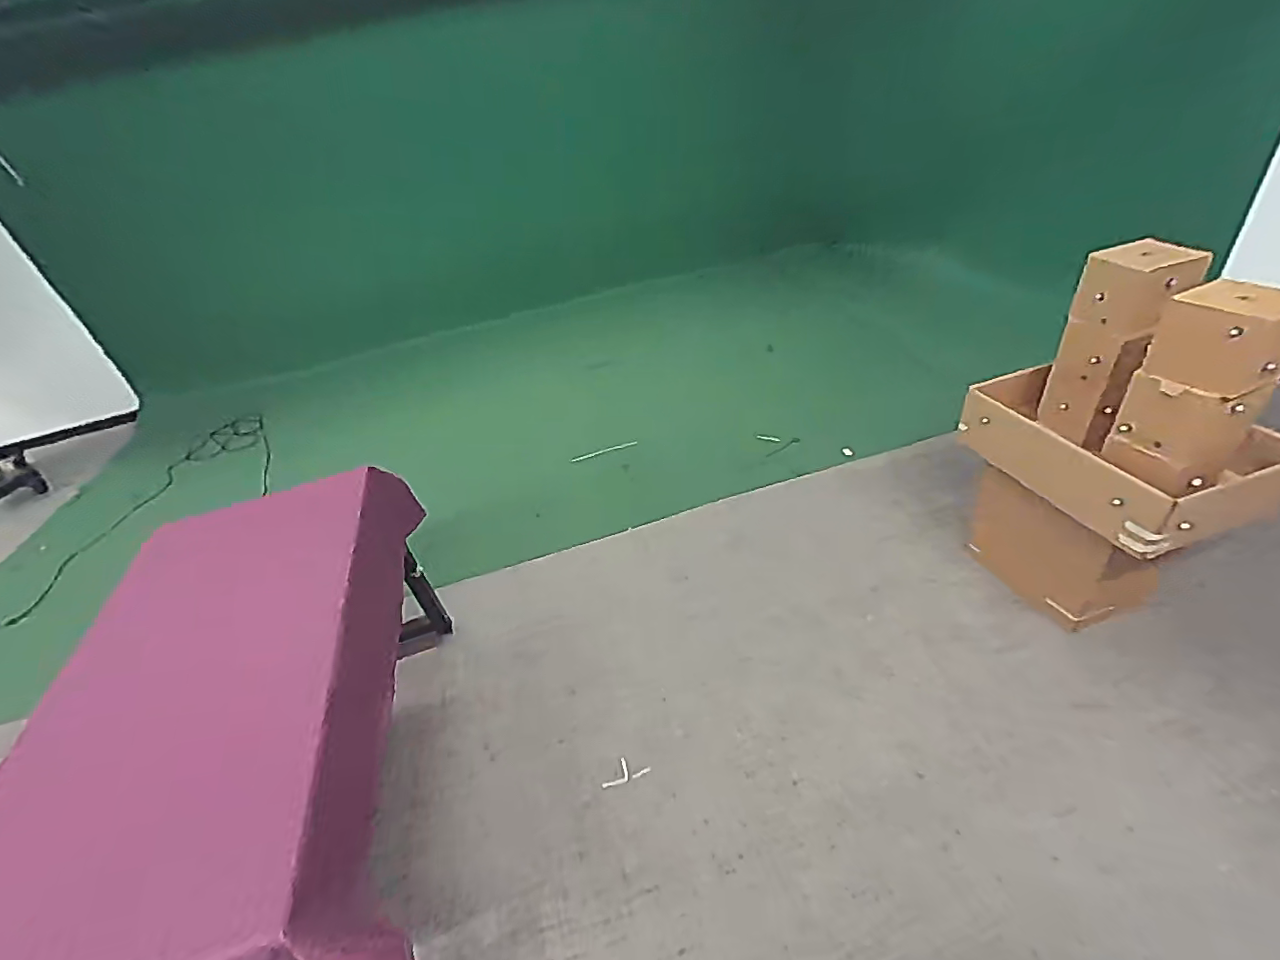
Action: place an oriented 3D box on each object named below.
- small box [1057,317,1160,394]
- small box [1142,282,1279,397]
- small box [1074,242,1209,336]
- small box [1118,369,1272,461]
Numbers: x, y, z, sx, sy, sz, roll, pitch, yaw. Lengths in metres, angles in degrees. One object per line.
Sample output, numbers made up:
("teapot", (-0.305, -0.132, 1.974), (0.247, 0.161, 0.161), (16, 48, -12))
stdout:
("small box", (1.286, -0.353, 1.474), (0.179, 0.176, 0.168), (-15, 38, -5))
("small box", (1.226, -0.296, 1.135), (0.168, 0.176, 0.179), (-20, 38, -11))
("small box", (1.261, -0.486, 1.381), (0.179, 0.176, 0.168), (-14, 38, -3))
("small box", (1.245, -0.165, 1.229), (0.179, 0.176, 0.168), (-18, 36, -8))
